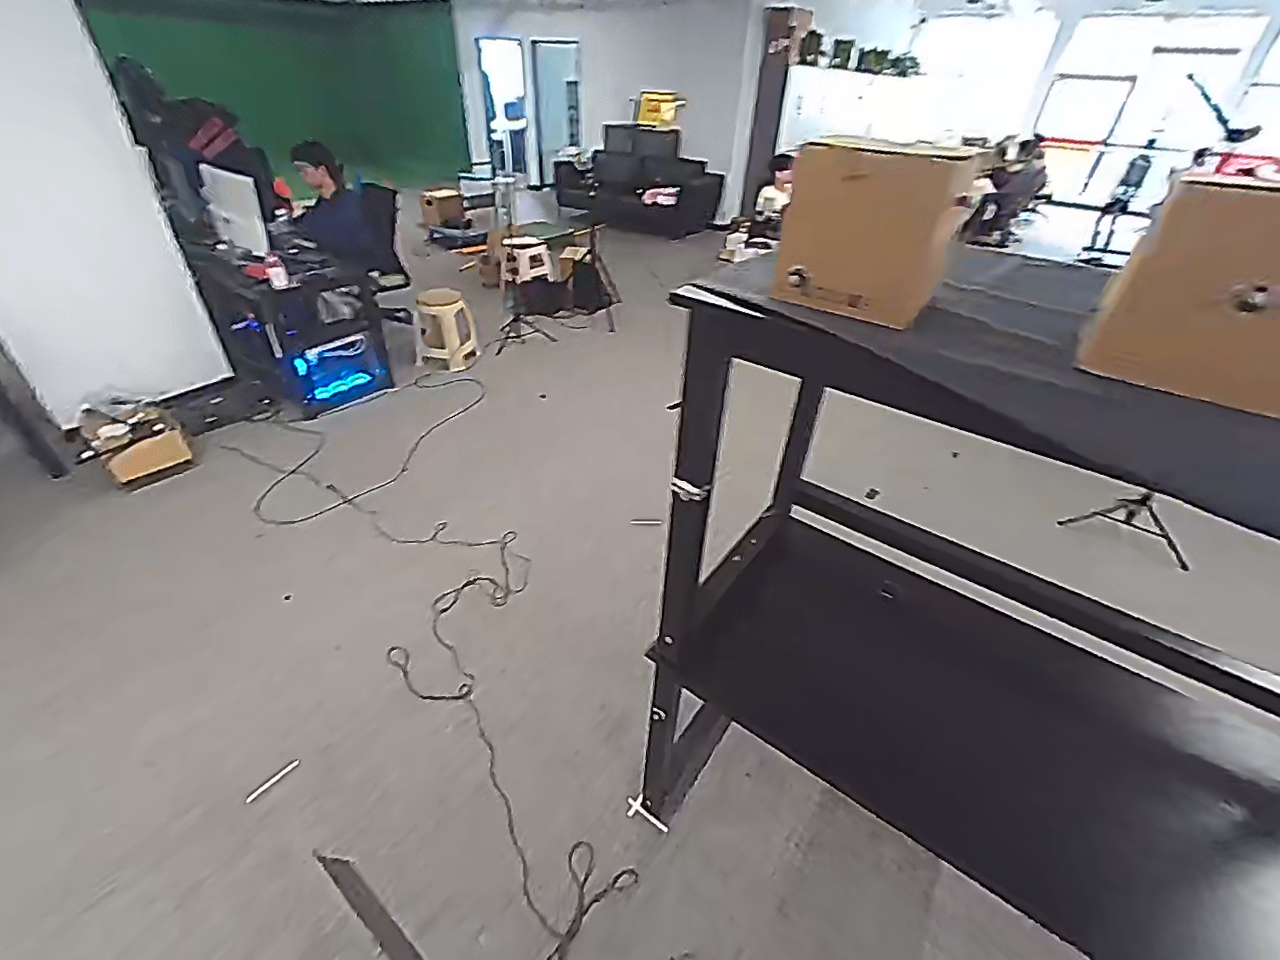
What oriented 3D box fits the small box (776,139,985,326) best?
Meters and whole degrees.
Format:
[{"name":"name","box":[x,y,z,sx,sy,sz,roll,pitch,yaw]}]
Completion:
[{"name":"small box","box":[0.276,-0.297,0.643,0.168,0.176,0.179,25,41,26]}]
